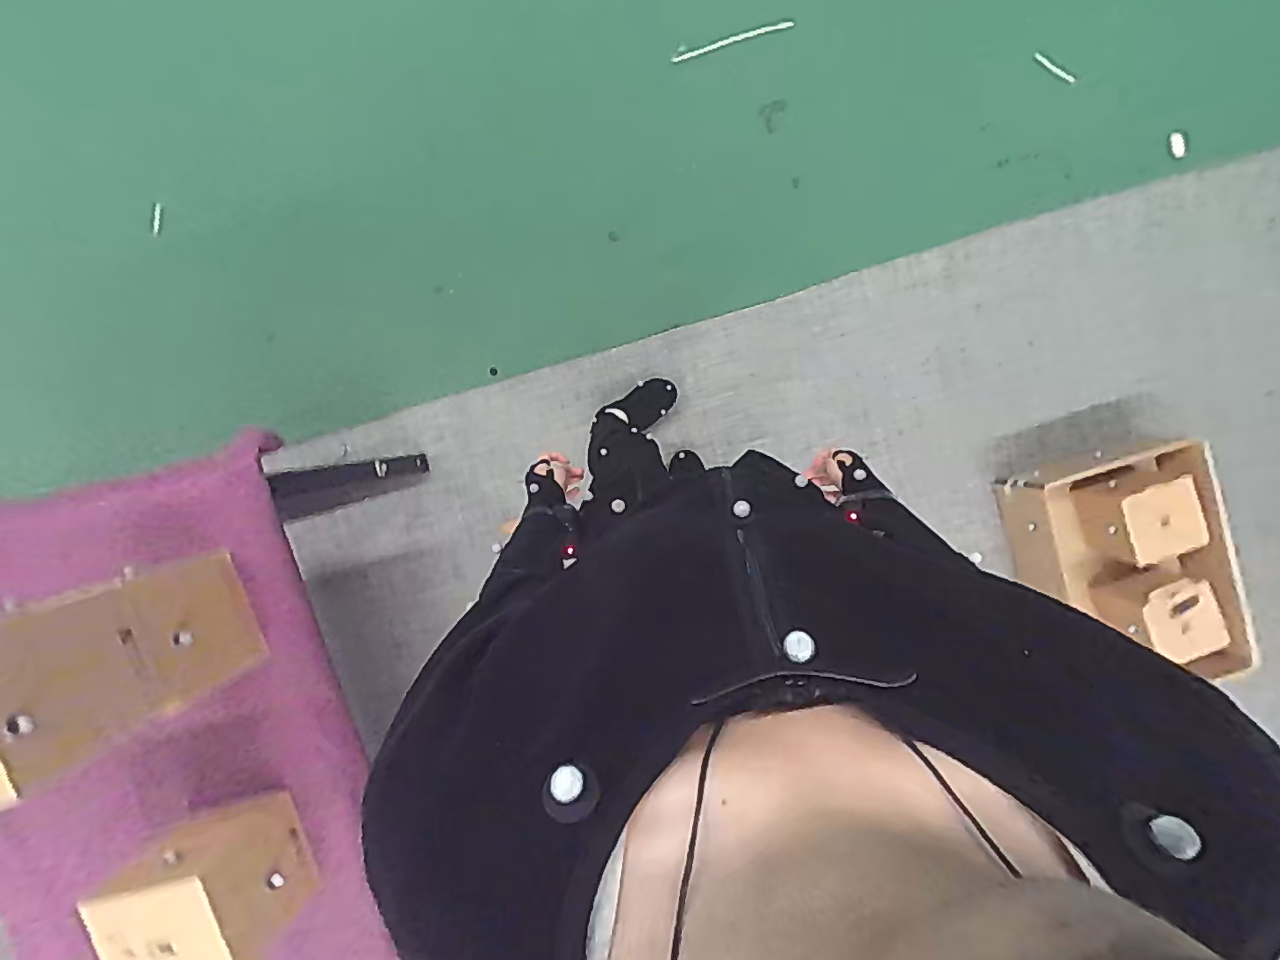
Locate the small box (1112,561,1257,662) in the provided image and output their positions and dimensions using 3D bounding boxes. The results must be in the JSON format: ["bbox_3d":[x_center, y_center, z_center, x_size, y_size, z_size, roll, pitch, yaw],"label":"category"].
[{"bbox_3d":[1.339,0.315,1.346,0.168,0.176,0.179,-25,94,6],"label":"small box"}]

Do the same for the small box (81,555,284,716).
[{"bbox_3d":[-0.652,0.215,0.756,0.168,0.176,0.179,-18,96,4],"label":"small box"}]

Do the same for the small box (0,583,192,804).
[{"bbox_3d":[-0.662,0.232,0.593,0.179,0.176,0.168,-17,97,5],"label":"small box"}]

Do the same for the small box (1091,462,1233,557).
[{"bbox_3d":[1.261,0.062,1.322,0.168,0.176,0.179,-21,96,7],"label":"small box"}]
